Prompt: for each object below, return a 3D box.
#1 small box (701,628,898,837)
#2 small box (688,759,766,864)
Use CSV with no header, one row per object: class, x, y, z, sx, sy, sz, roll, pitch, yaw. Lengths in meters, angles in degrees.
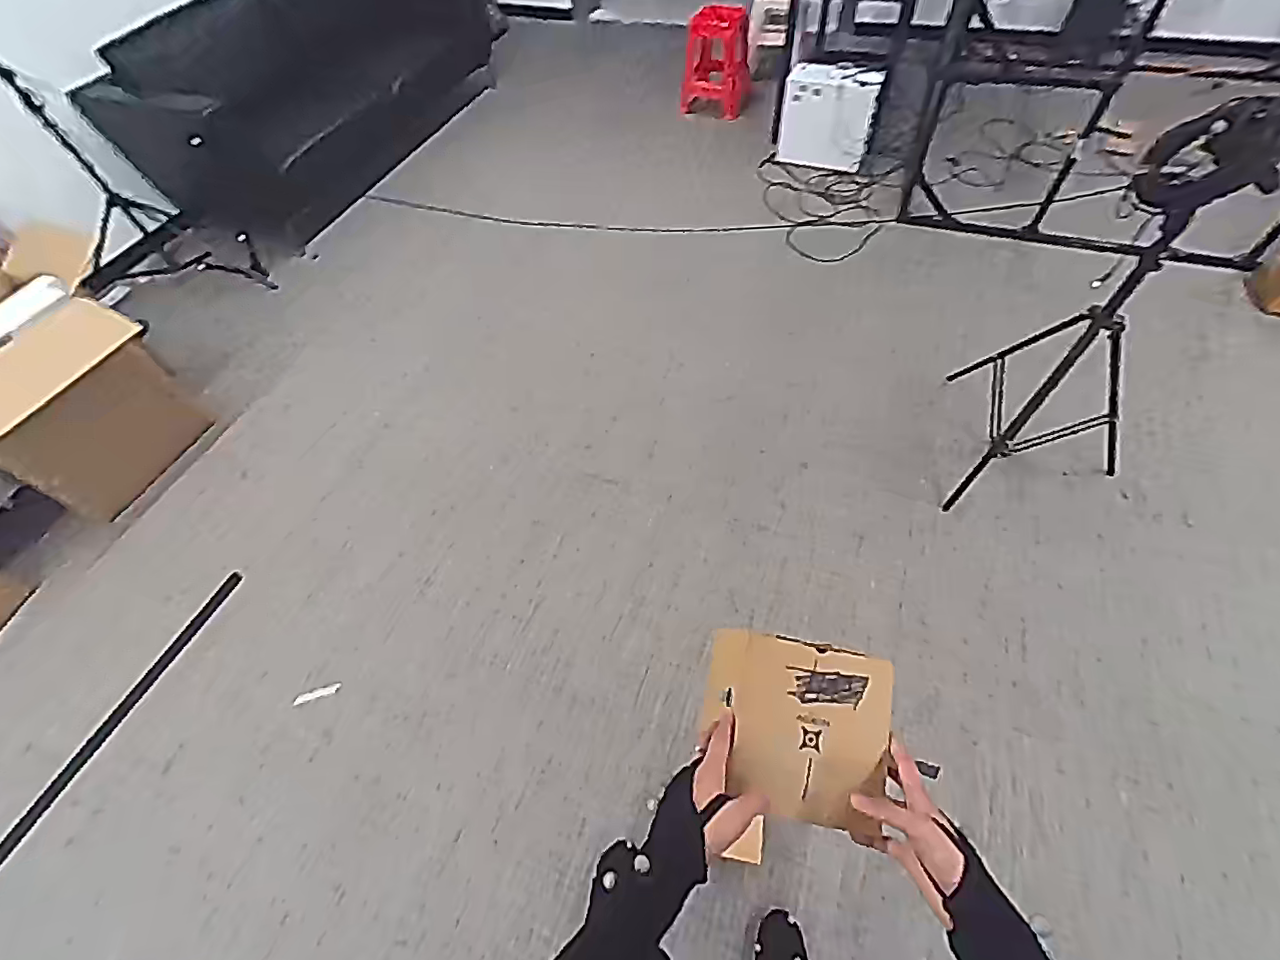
small box,0.175,0.275,0.632,0.168,0.176,0.179,12,76,-1
small box,0.205,0.780,1.273,0.168,0.176,0.179,6,57,10
